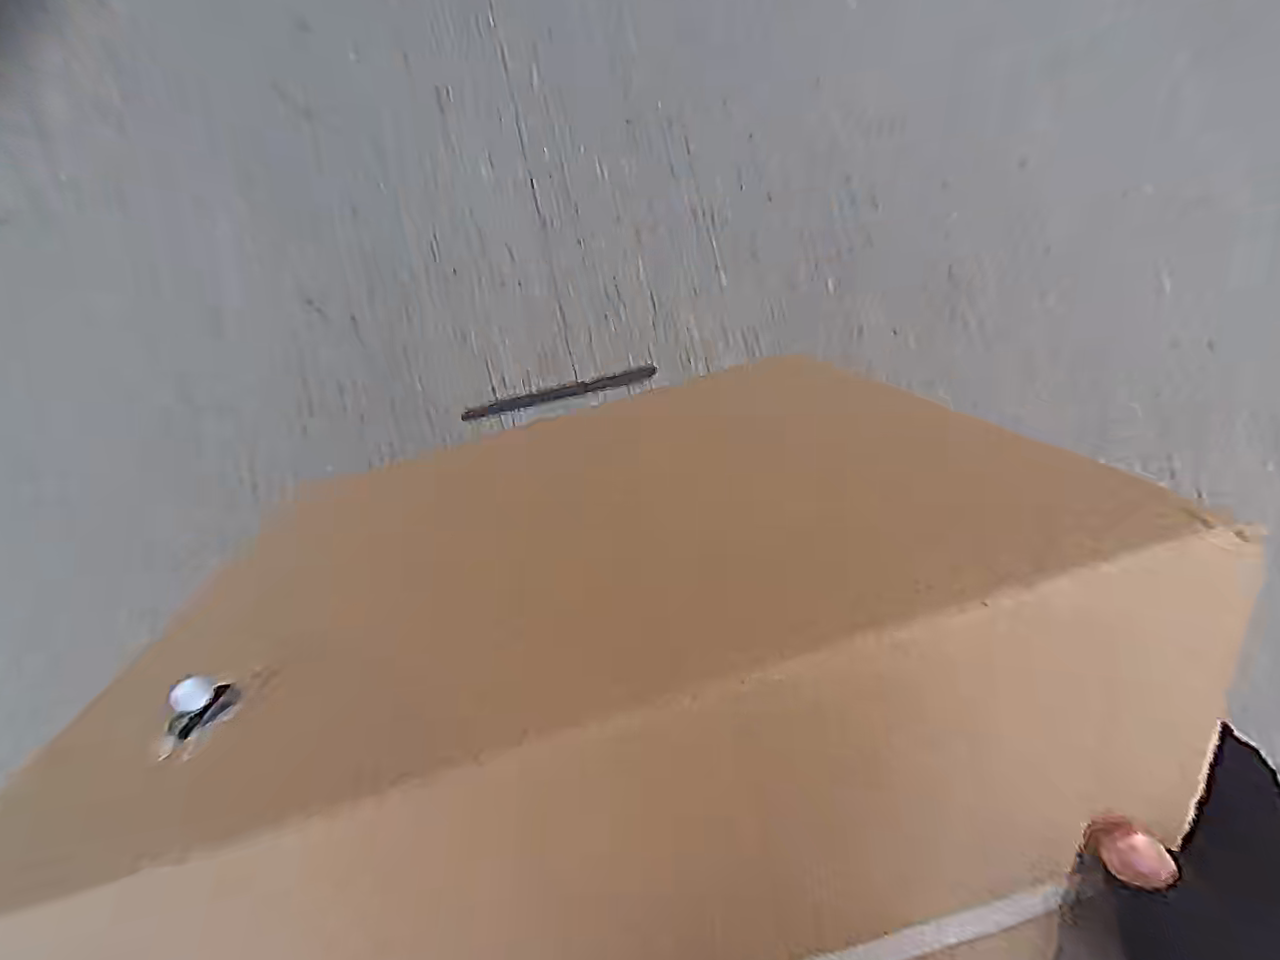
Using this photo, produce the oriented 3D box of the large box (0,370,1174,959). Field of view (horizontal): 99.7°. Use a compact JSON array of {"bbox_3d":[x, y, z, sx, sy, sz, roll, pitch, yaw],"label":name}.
[{"bbox_3d":[-0.001,0.149,0.362,0.408,0.320,0.320,-16,114,-3],"label":"large box"}]
